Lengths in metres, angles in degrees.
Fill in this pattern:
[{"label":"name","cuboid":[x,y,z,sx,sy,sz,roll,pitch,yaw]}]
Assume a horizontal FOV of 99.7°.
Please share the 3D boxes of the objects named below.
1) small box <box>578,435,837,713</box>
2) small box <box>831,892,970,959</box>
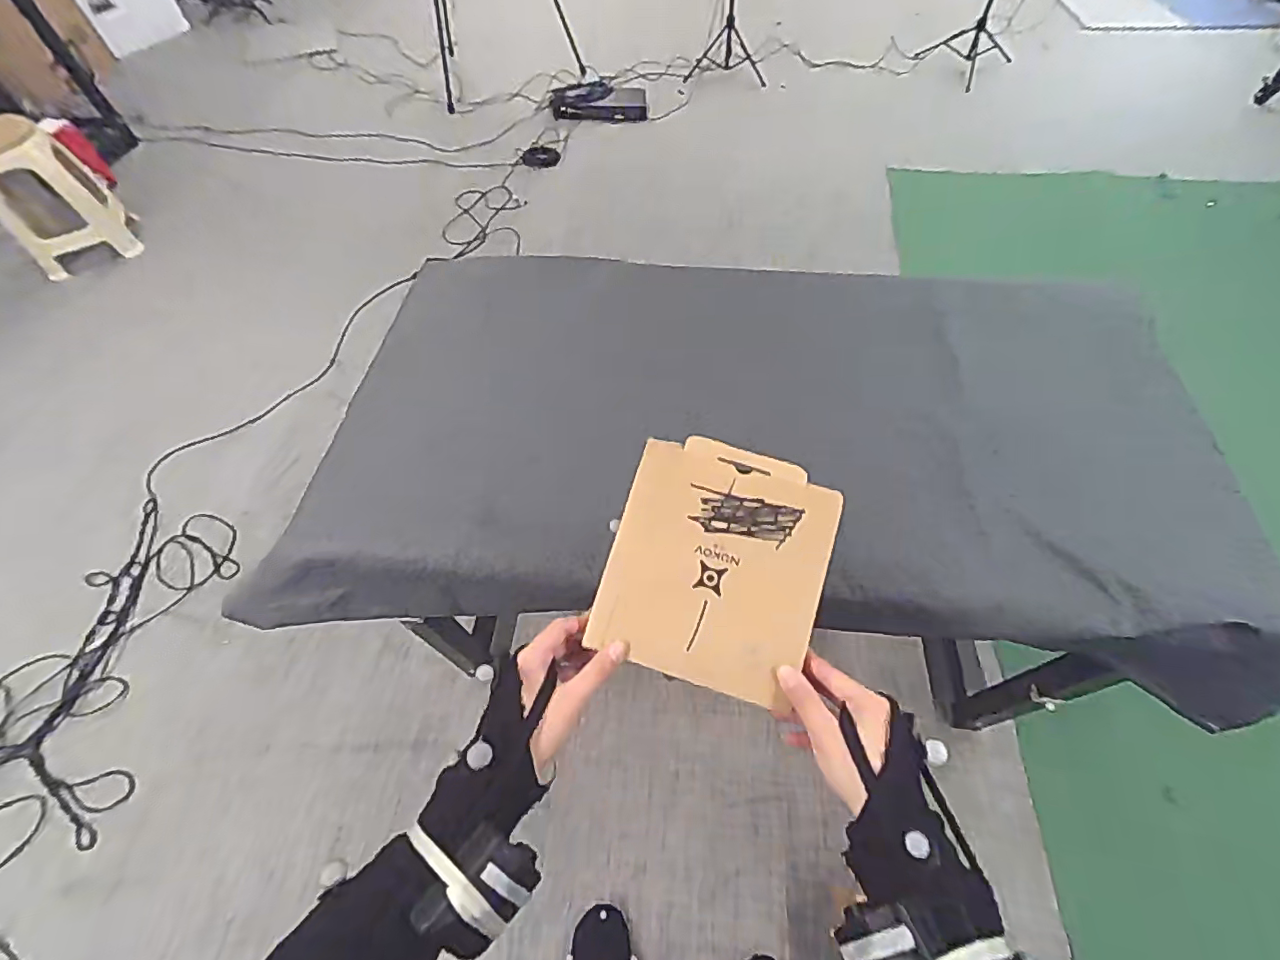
[{"label":"small box","cuboid":[0.057,0.084,0.494,0.168,0.176,0.179,17,78,7]},{"label":"small box","cuboid":[0.449,0.827,0.938,0.179,0.176,0.168,2,56,4]}]
